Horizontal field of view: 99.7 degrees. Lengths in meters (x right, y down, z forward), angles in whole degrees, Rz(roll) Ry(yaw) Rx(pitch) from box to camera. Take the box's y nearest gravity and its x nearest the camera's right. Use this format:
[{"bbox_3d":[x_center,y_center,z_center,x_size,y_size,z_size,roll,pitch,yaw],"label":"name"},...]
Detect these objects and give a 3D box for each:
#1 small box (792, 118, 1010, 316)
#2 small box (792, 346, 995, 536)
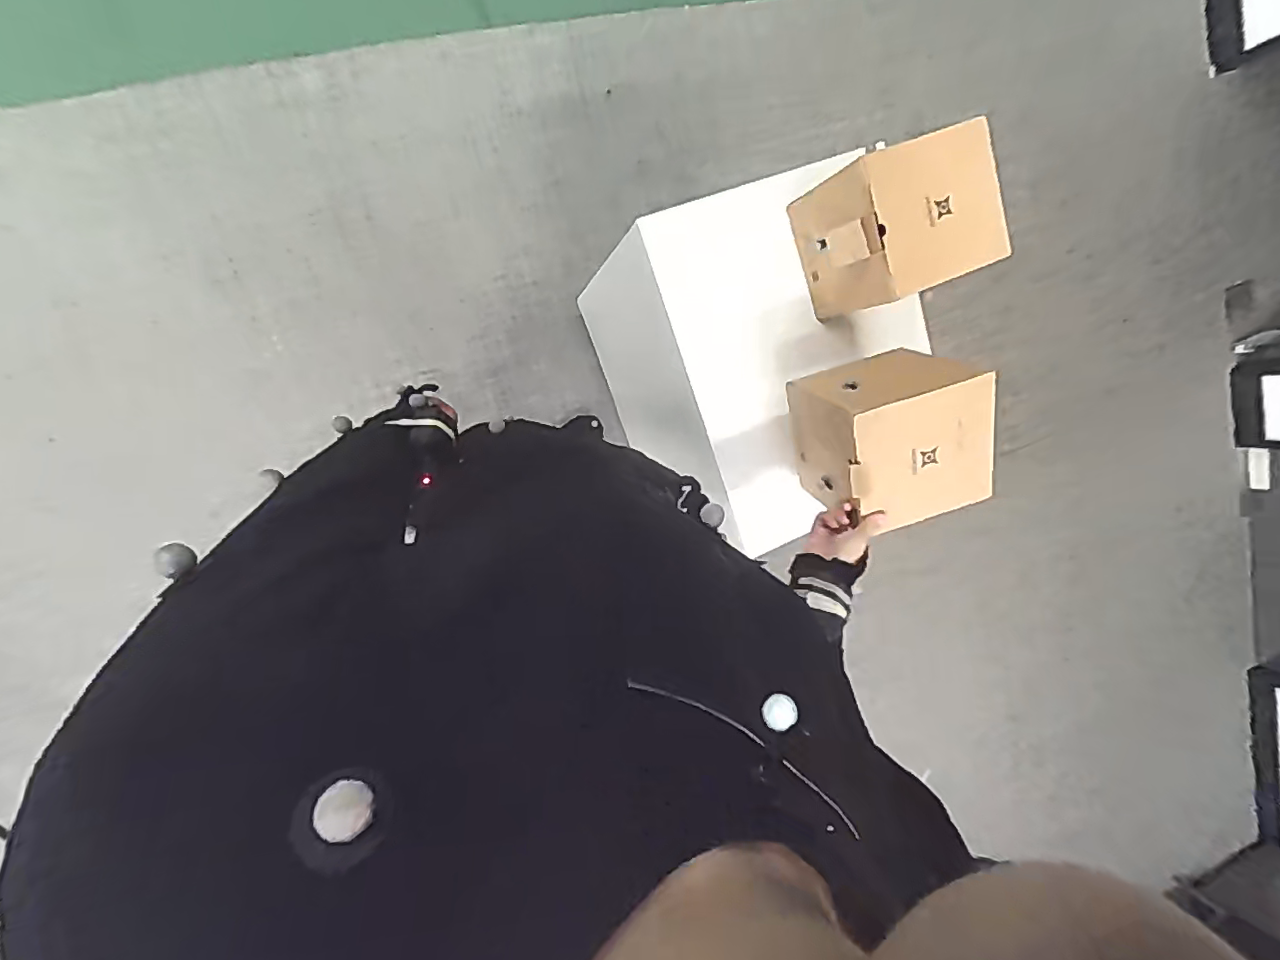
[{"bbox_3d":[0.332,-0.329,0.709,0.179,0.176,0.168,-23,104,-9],"label":"small box"},{"bbox_3d":[0.308,-0.058,0.690,0.179,0.176,0.168,-18,117,-5],"label":"small box"}]
